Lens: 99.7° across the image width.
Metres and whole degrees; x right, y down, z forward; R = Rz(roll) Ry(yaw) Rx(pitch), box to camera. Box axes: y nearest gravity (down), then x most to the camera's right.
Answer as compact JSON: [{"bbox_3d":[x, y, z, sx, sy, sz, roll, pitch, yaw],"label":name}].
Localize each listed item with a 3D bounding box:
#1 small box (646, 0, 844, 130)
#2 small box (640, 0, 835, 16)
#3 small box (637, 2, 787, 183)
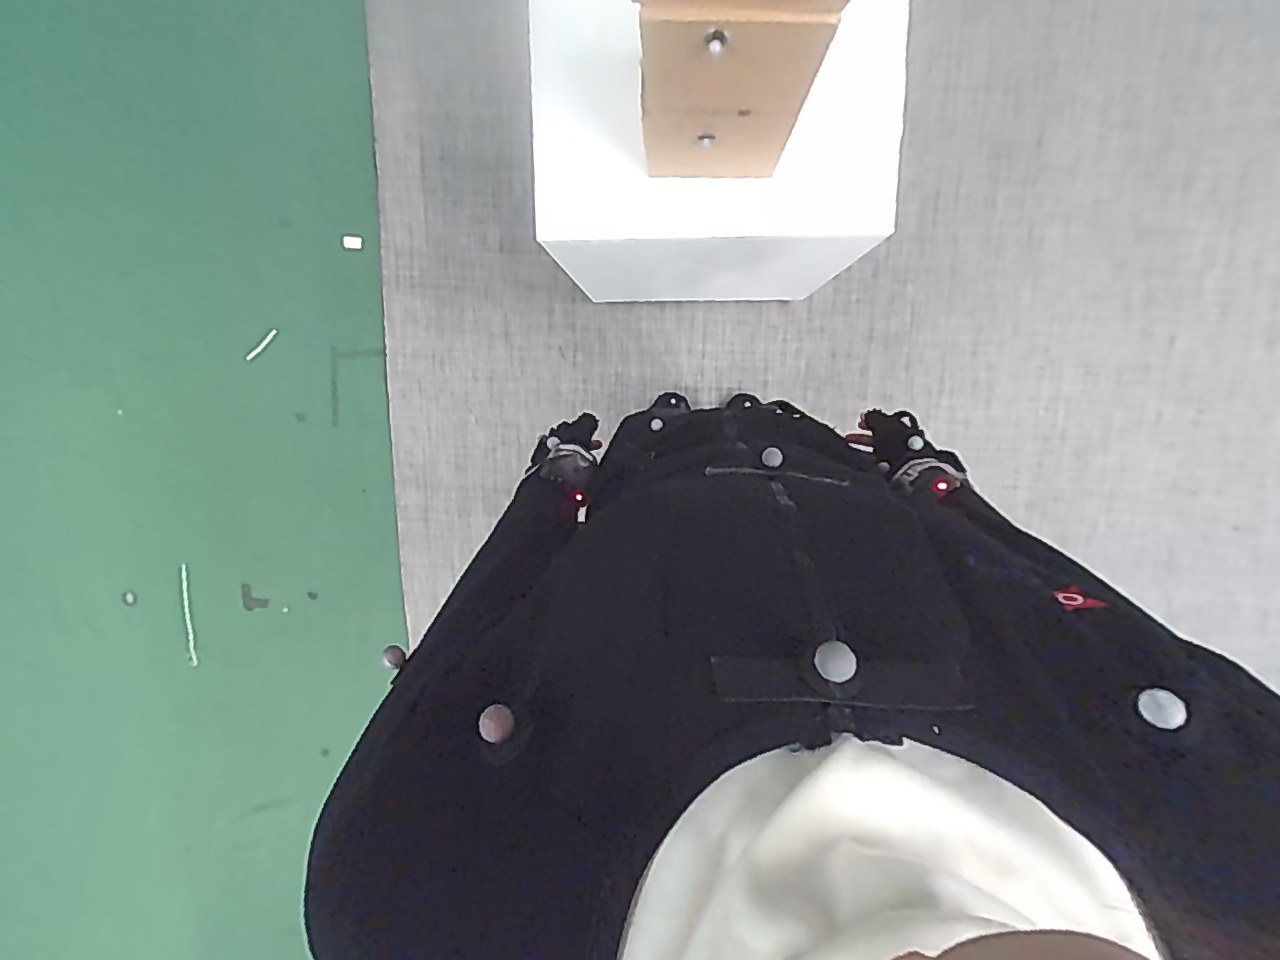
[{"bbox_3d":[0.089,-0.469,0.515,0.168,0.176,0.179,1,99,2],"label":"small box"},{"bbox_3d":[0.077,-0.449,0.352,0.179,0.176,0.168,4,101,2],"label":"small box"},{"bbox_3d":[0.092,-0.490,0.675,0.179,0.176,0.168,2,99,3],"label":"small box"}]
